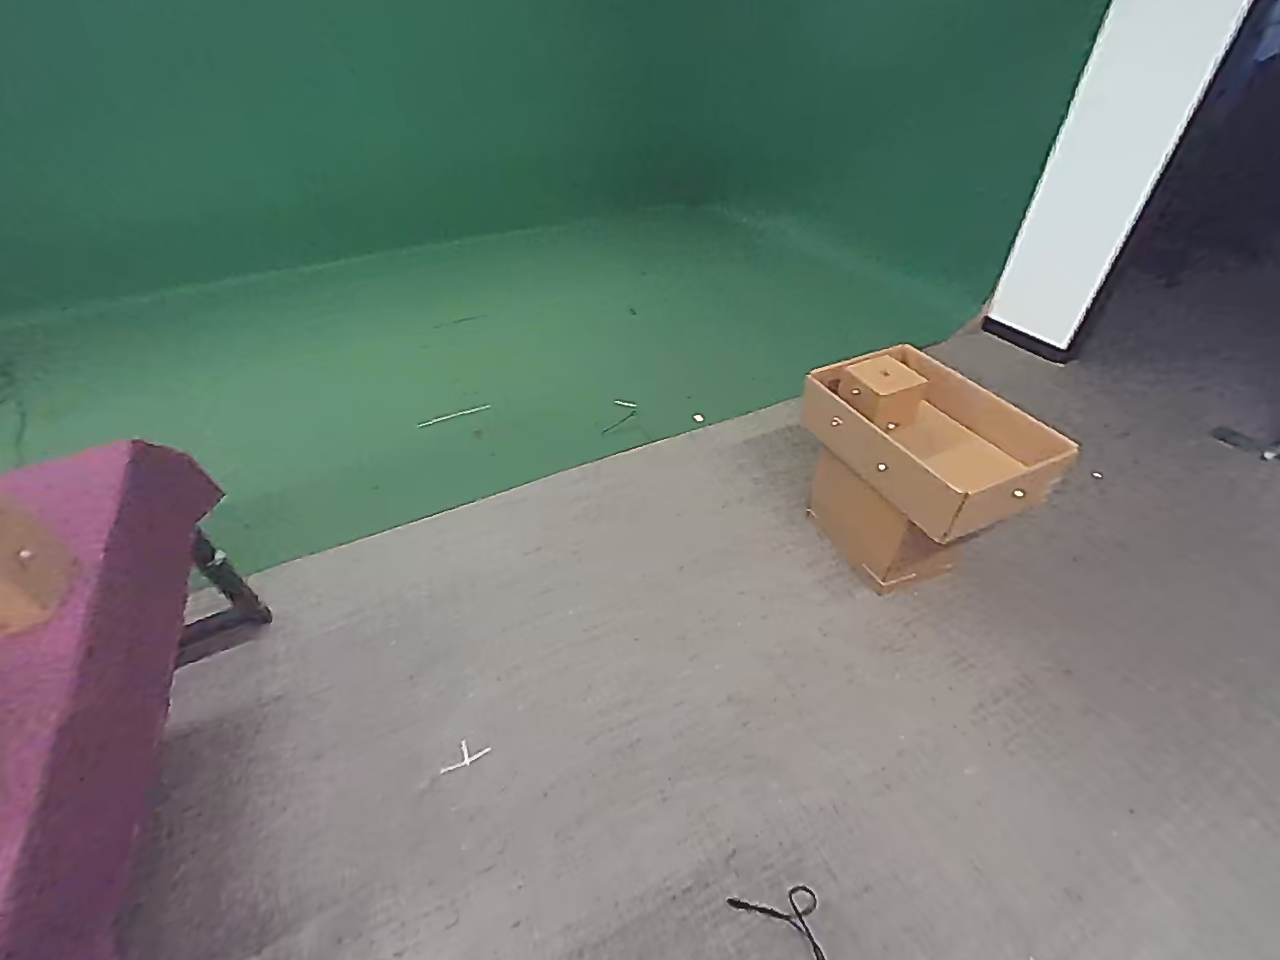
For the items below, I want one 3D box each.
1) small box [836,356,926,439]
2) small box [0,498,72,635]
[{"bbox_3d":[0.727,-0.252,1.655,0.168,0.176,0.179,-18,43,-14],"label":"small box"},{"bbox_3d":[-1.161,0.169,0.944,0.168,0.176,0.179,-22,46,-20],"label":"small box"}]
